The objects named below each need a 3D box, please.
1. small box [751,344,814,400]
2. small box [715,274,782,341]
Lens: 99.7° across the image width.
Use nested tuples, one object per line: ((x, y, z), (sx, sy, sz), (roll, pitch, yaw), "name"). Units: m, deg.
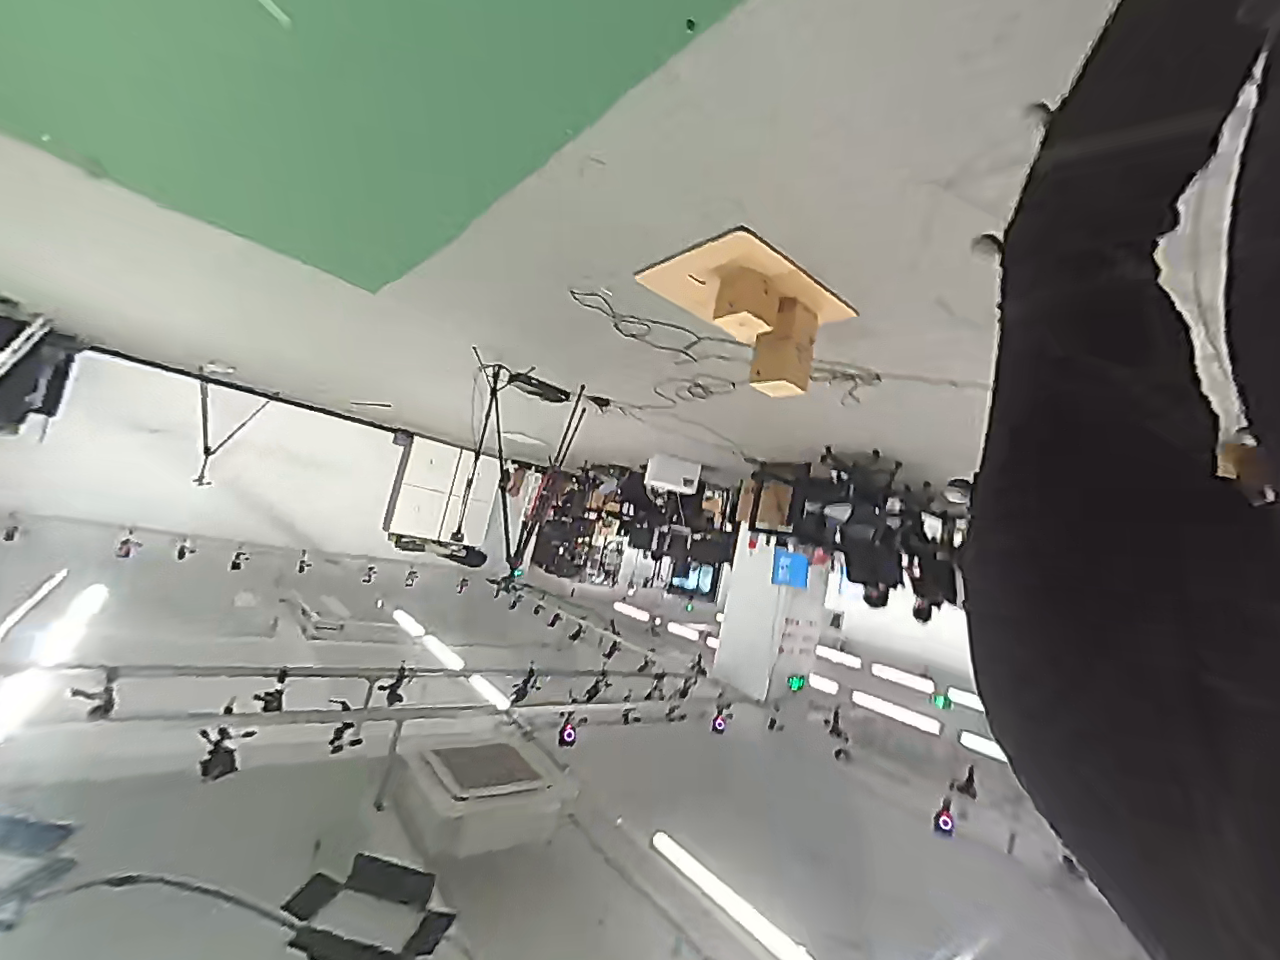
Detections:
((0.577, -0.433, 2.176), (0.168, 0.176, 0.179), (16, 172, -39), "small box")
((0.417, -0.654, 2.057), (0.168, 0.176, 0.179), (18, 171, -34), "small box")
